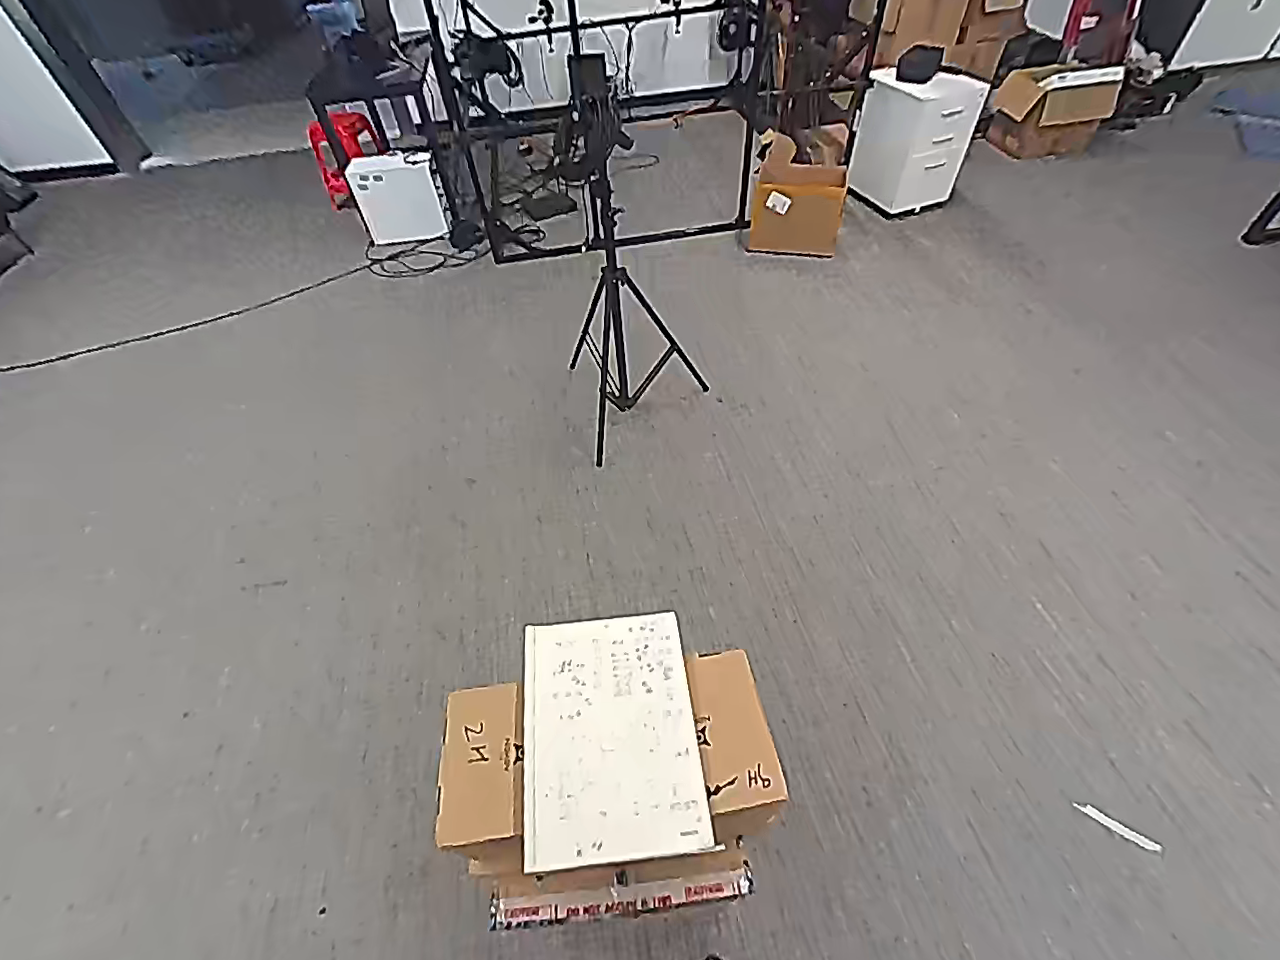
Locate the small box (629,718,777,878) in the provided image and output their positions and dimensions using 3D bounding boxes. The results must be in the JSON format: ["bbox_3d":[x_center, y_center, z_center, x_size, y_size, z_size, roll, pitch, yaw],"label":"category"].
[{"bbox_3d":[0.085,0.482,0.817,0.179,0.176,0.168,-11,51,-5],"label":"small box"}]

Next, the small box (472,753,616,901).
[{"bbox_3d":[-0.128,0.515,0.801,0.179,0.176,0.168,-5,51,2],"label":"small box"}]
